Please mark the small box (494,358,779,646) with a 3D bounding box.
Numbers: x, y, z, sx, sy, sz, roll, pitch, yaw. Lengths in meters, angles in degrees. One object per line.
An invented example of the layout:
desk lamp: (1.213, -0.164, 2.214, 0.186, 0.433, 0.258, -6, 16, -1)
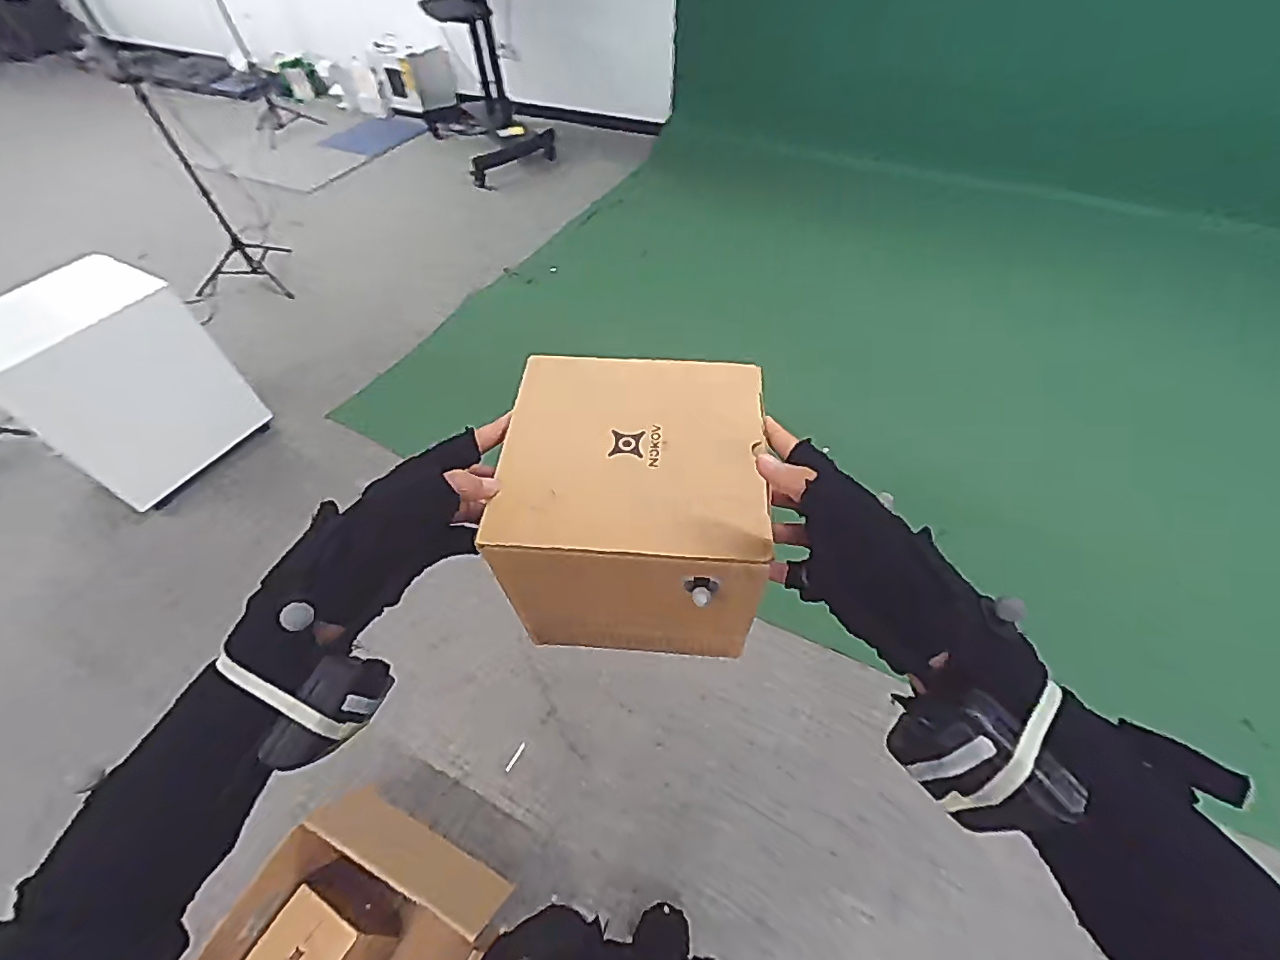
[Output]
small box: (0.005, 0.024, 0.433, 0.179, 0.176, 0.168, 4, 55, 3)
